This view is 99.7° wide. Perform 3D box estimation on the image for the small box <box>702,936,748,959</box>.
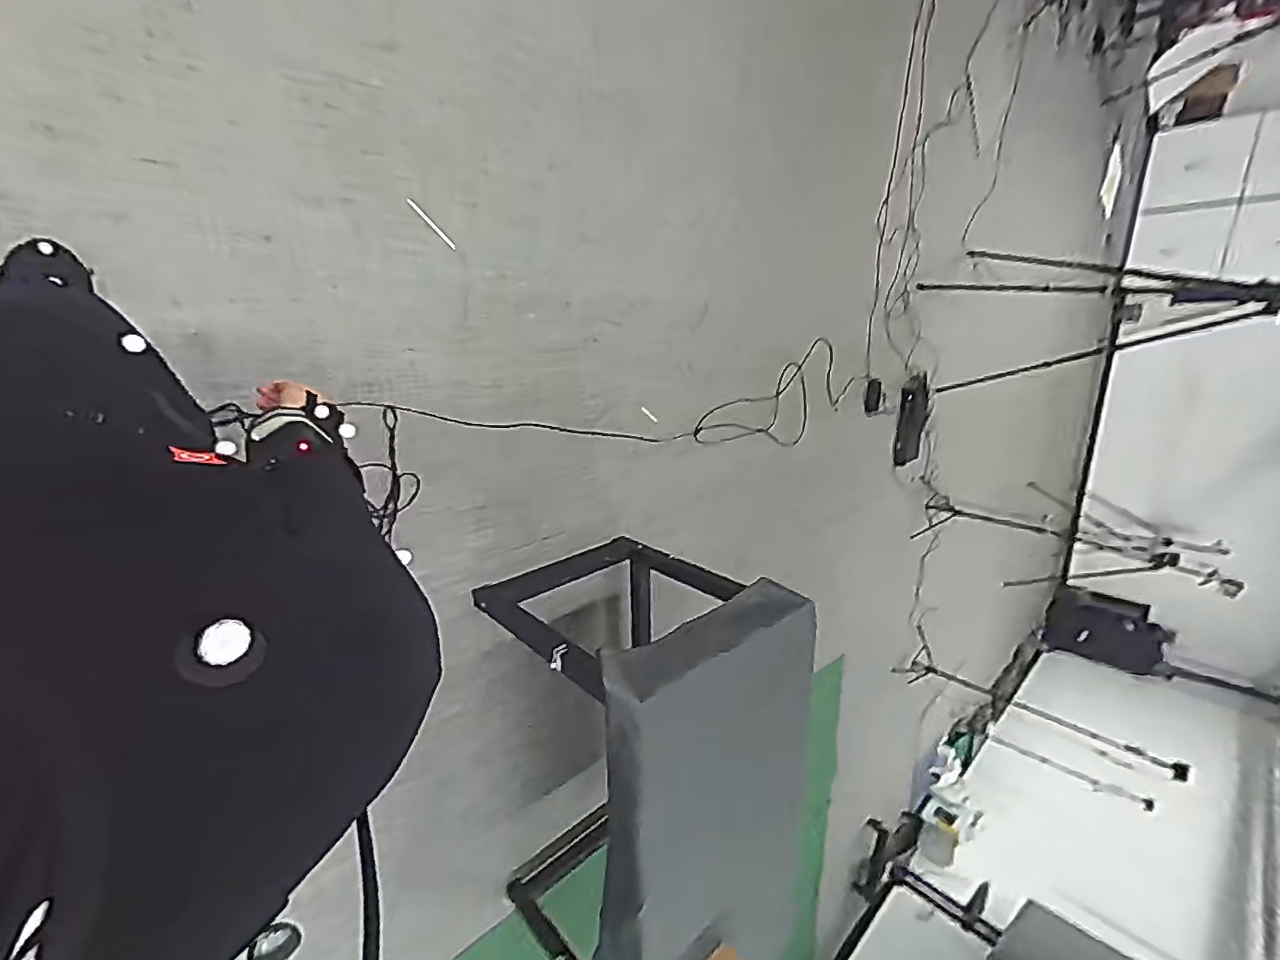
[{"bbox_3d":[0.214,1.316,1.347,0.179,0.176,0.168,-15,112,-42],"label":"small box"}]
